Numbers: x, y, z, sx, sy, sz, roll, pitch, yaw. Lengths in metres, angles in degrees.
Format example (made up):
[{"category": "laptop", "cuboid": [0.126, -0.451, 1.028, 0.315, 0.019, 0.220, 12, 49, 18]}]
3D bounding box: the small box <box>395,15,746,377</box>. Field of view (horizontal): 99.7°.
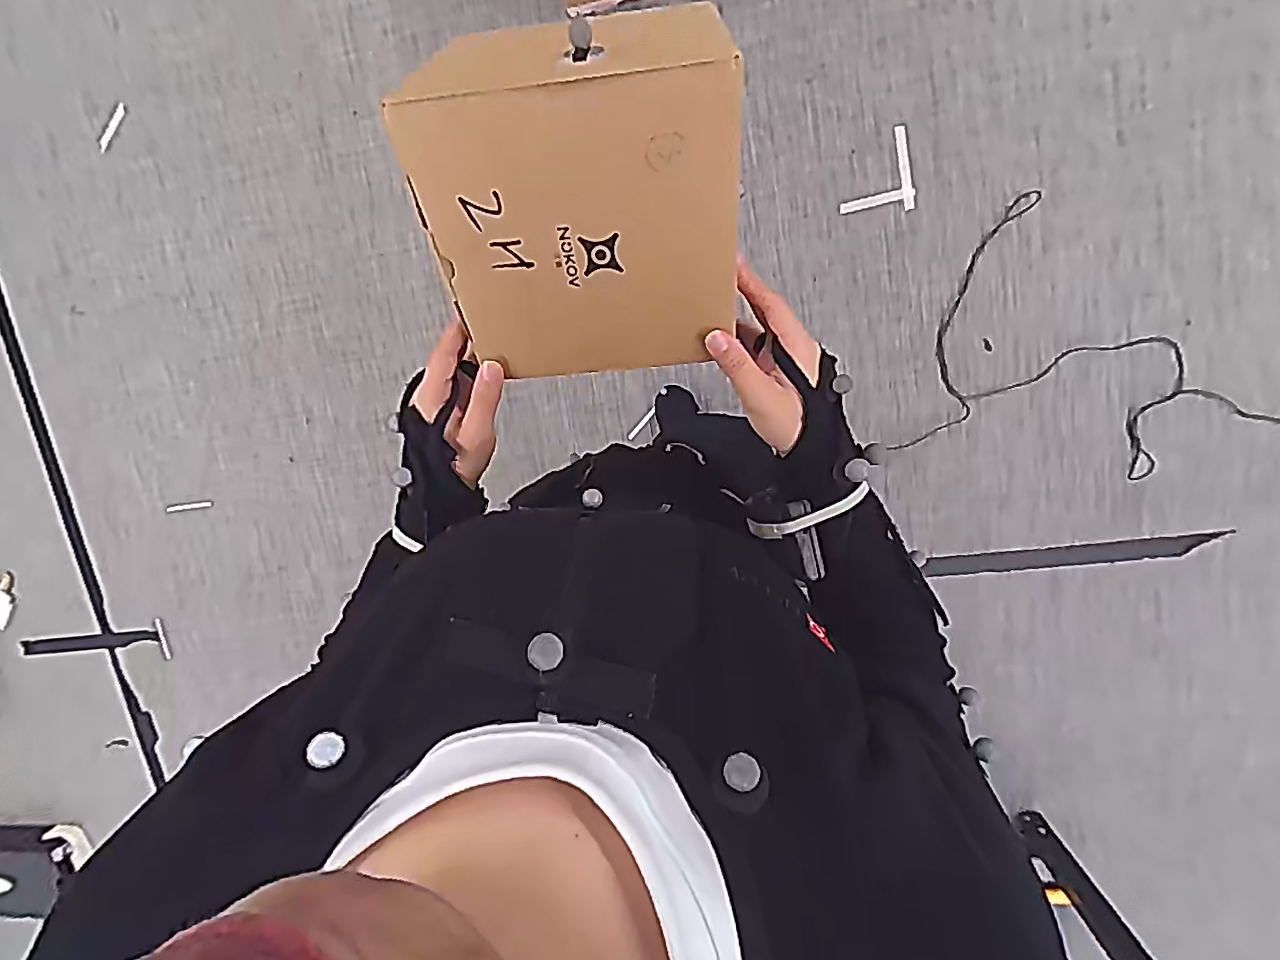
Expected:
[{"category": "small box", "cuboid": [-0.029, -0.193, 0.371, 0.179, 0.176, 0.168, -4, 137, 5]}]
